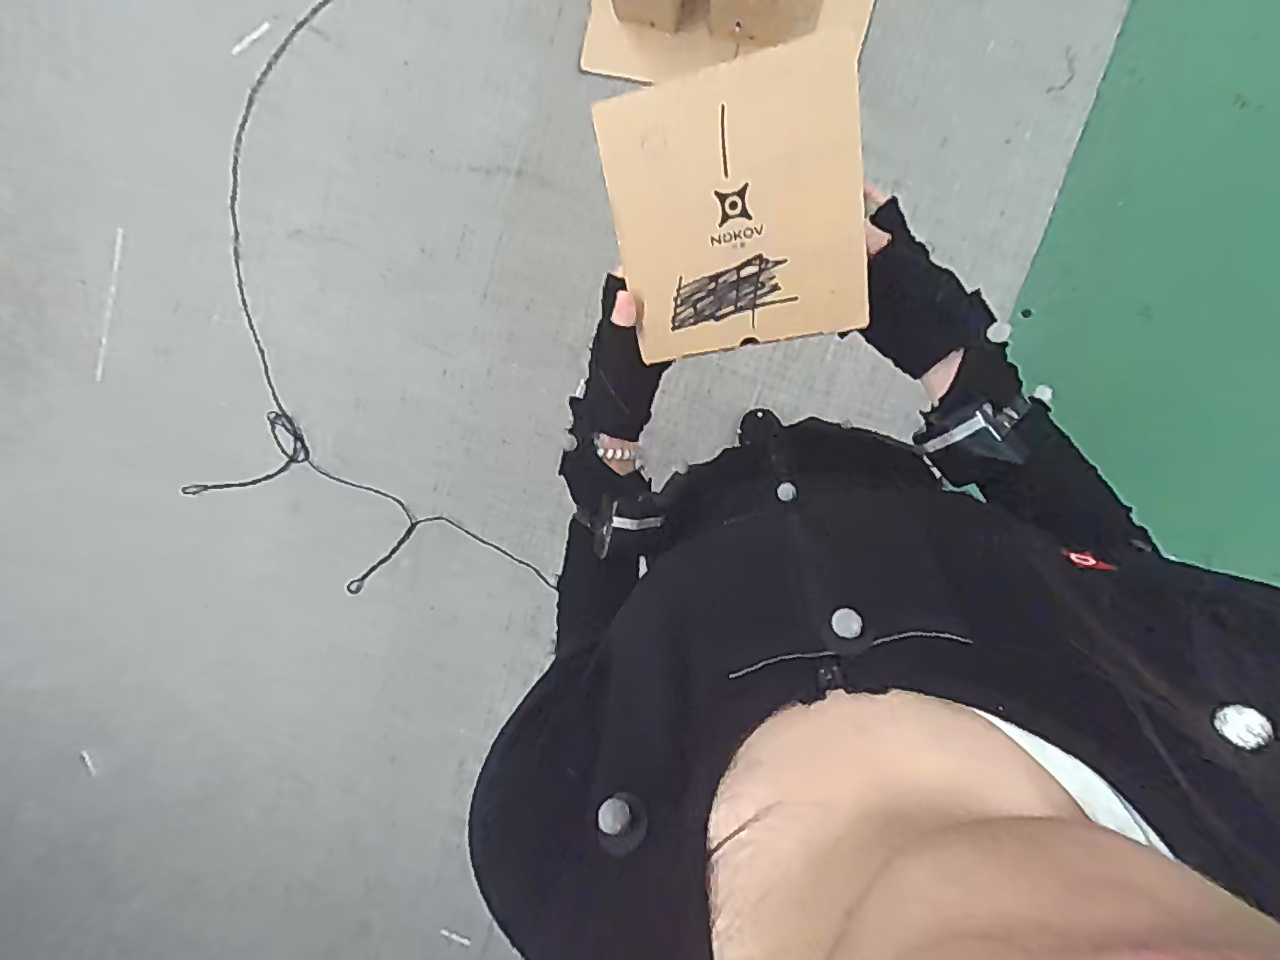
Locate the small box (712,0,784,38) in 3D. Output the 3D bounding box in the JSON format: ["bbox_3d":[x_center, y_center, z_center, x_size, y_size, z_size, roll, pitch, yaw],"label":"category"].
[{"bbox_3d":[0.264,-1.186,1.256,0.168,0.176,0.179,14,98,6],"label":"small box"}]

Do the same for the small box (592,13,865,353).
[{"bbox_3d":[0.080,-0.217,0.431,0.168,0.176,0.179,-6,114,16],"label":"small box"}]
